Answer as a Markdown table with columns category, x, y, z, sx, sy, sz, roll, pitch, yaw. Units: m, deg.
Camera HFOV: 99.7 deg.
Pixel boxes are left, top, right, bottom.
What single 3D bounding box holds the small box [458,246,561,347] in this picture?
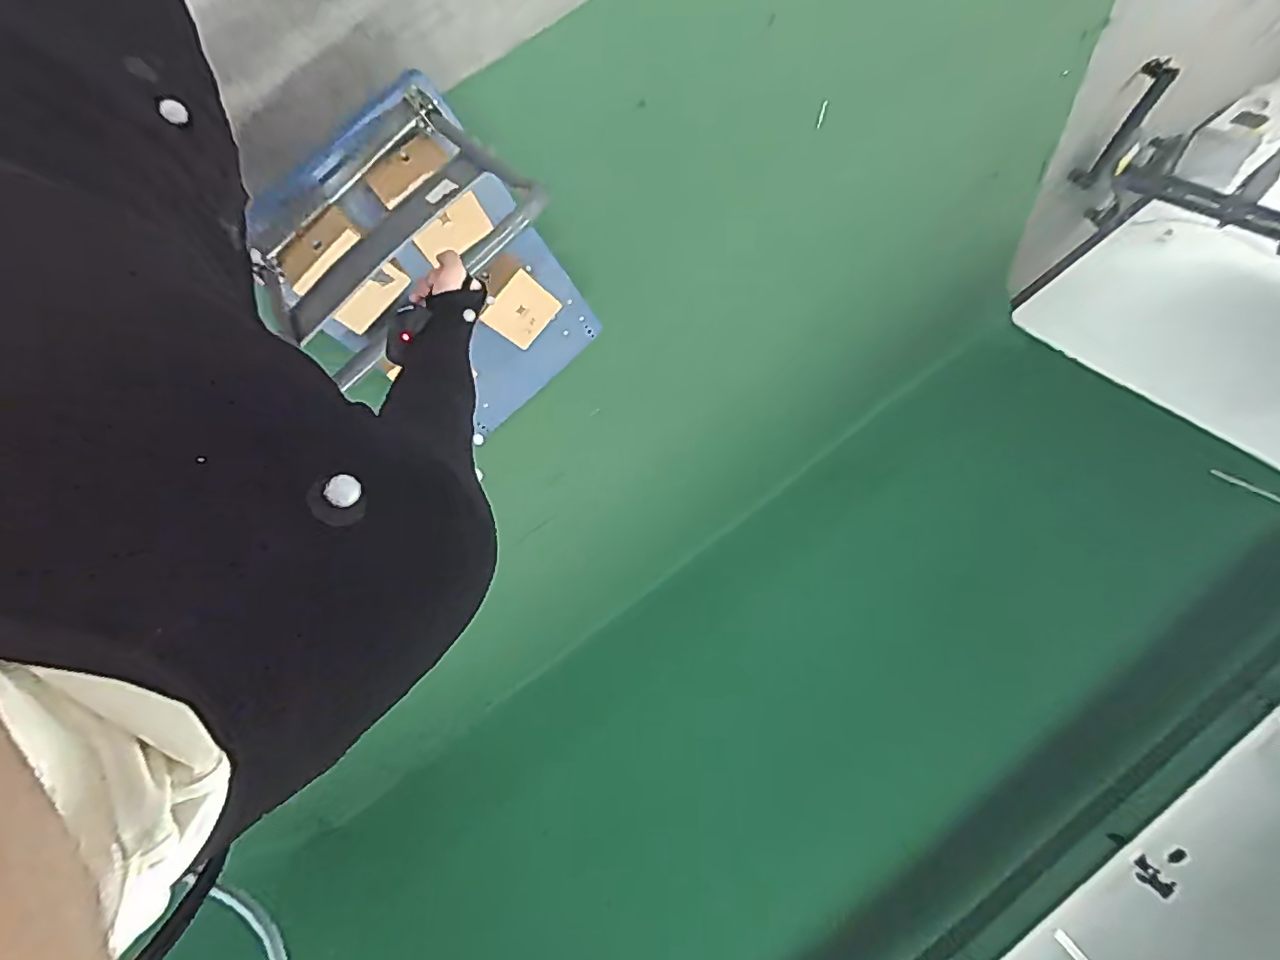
| category | x | y | z | sx | sy | sz | roll | pitch | yaw |
| --- | --- | --- | --- | --- | --- | --- | --- | --- | --- |
| small box | -0.354 | -0.497 | 1.451 | 0.168 | 0.176 | 0.179 | -46 | 147 | 10 |

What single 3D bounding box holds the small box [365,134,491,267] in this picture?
| category | x | y | z | sx | sy | sz | roll | pitch | yaw |
| --- | --- | --- | --- | --- | --- | --- | --- | --- | --- |
| small box | -0.466 | -0.618 | 1.194 | 0.168 | 0.176 | 0.179 | -37 | 147 | -3 |

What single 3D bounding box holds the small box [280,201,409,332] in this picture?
| category | x | y | z | sx | sy | sz | roll | pitch | yaw |
| --- | --- | --- | --- | --- | --- | --- | --- | --- | --- |
| small box | -0.650 | -0.469 | 1.182 | 0.179 | 0.176 | 0.168 | -43 | 147 | 5 |
